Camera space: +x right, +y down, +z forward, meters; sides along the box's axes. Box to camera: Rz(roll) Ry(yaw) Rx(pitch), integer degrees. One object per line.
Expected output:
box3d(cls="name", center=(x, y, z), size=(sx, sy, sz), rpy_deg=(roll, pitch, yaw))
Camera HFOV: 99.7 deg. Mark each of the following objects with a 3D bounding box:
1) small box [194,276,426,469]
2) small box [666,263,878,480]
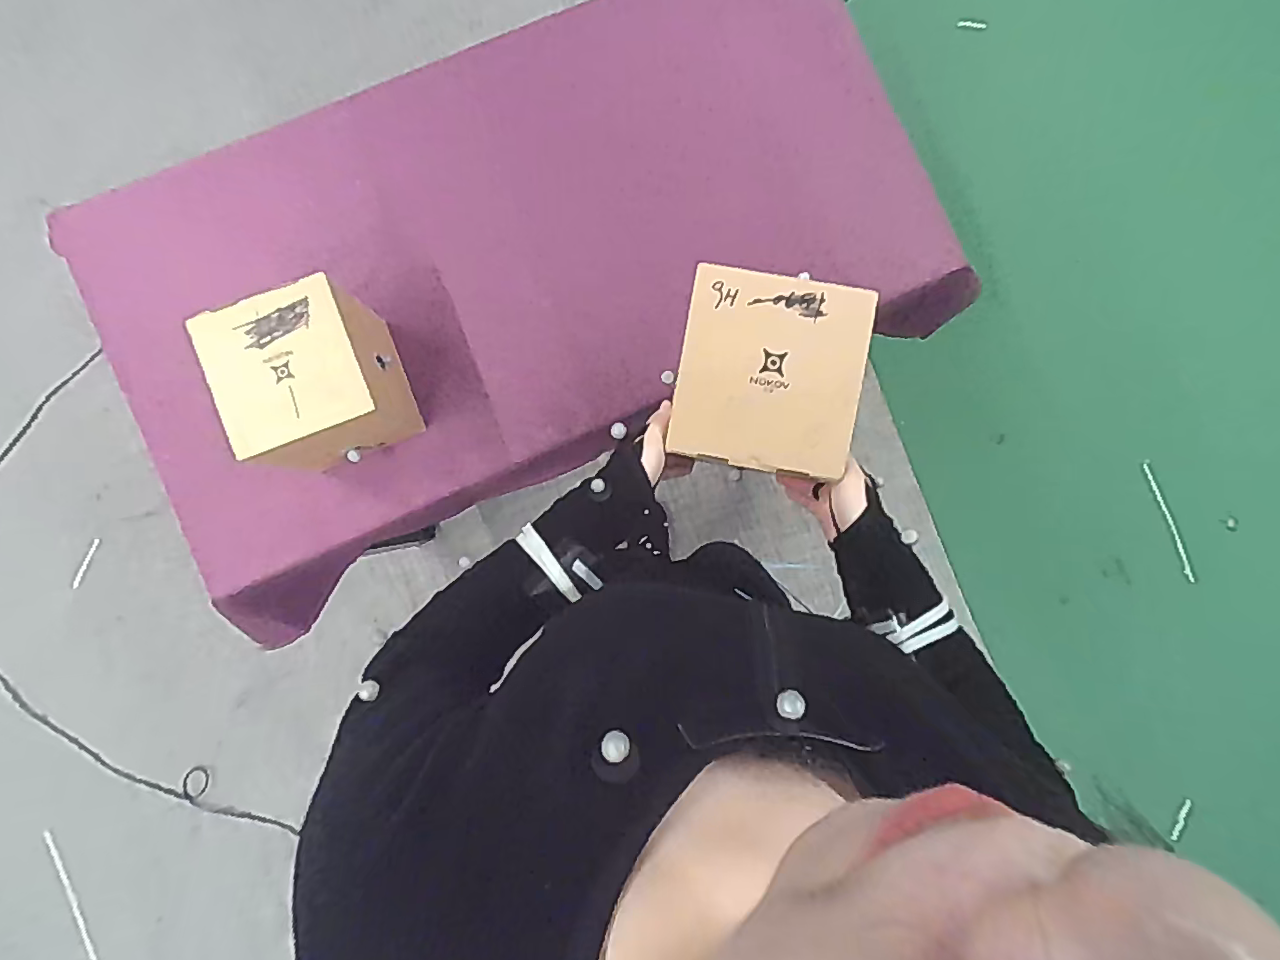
box3d(cls="small box", center=(-0.405, -0.124, 0.695), size=(0.168, 0.176, 0.179), rpy_deg=(-21, 89, -3))
box3d(cls="small box", center=(0.123, -0.103, 0.571), size=(0.168, 0.176, 0.179), rpy_deg=(9, 93, 1))
